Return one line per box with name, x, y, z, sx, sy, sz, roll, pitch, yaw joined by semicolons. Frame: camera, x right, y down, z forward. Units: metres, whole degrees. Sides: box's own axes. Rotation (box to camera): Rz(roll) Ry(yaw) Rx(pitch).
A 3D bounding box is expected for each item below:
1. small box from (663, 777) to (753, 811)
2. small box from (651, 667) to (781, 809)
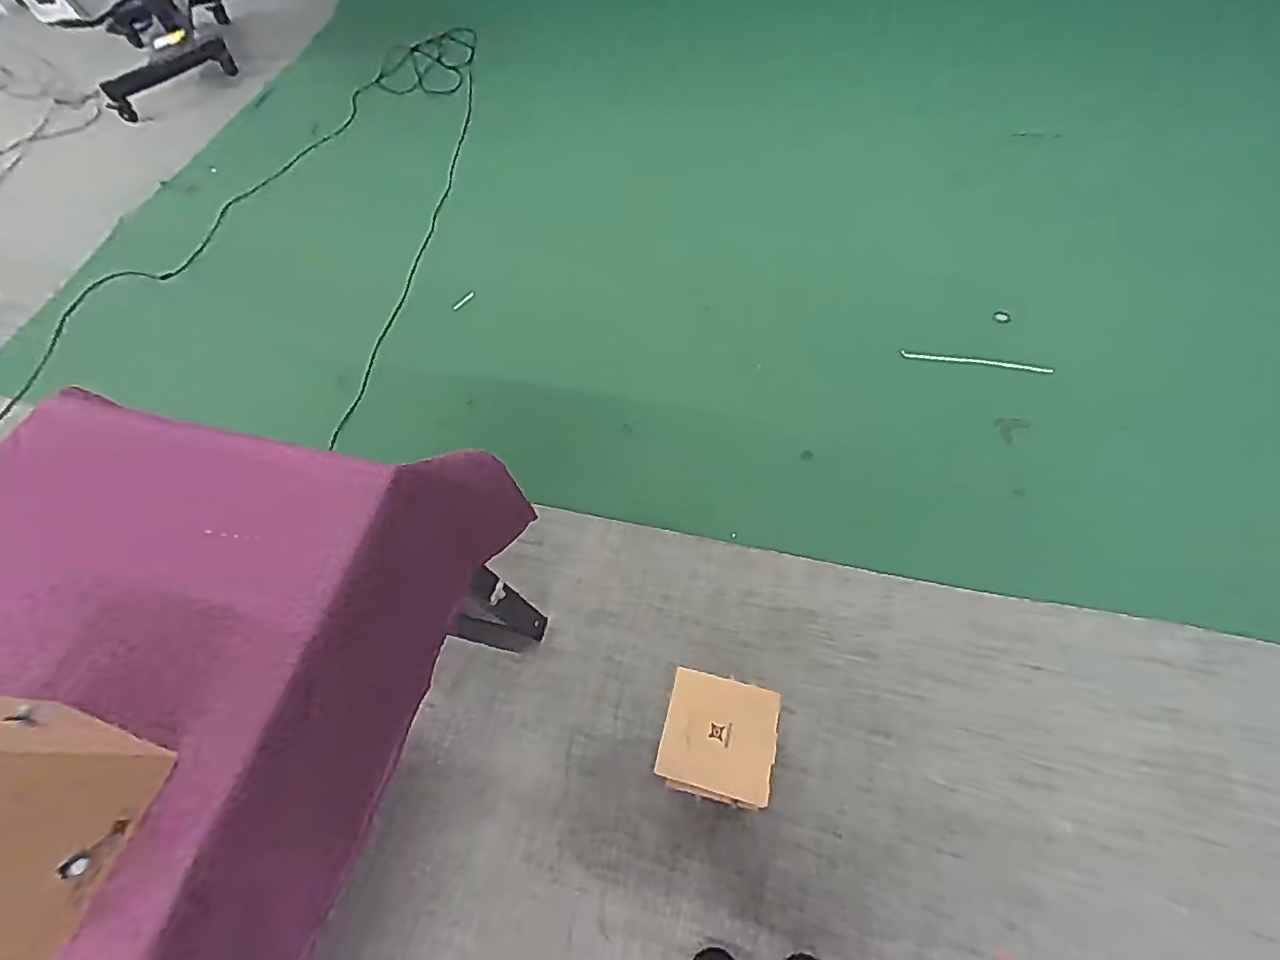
small box;0.148;0.518;1.053;0.168;0.176;0.179;8;64;12
small box;0.129;0.434;0.913;0.179;0.176;0.168;10;62;13
